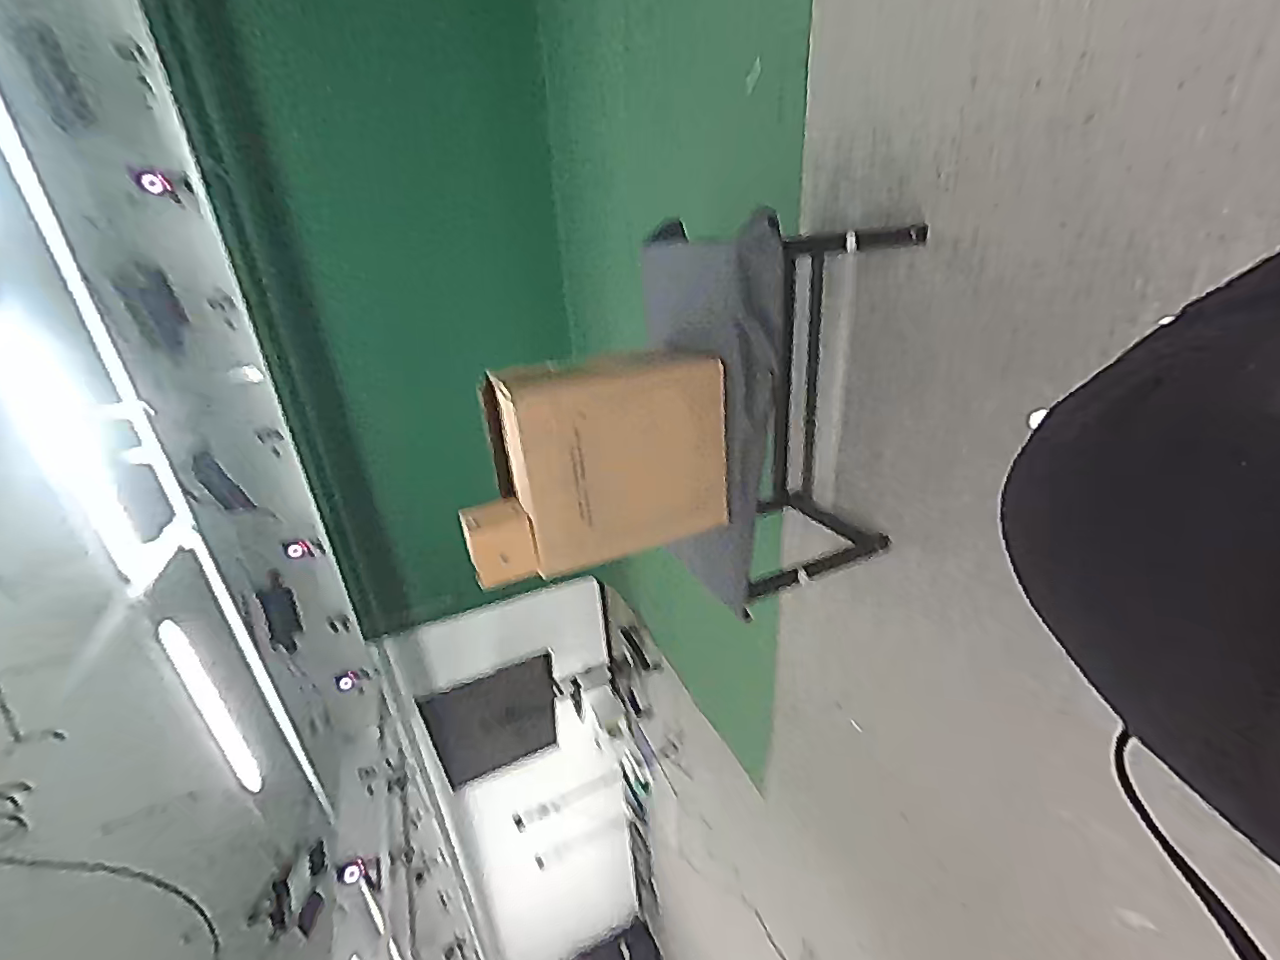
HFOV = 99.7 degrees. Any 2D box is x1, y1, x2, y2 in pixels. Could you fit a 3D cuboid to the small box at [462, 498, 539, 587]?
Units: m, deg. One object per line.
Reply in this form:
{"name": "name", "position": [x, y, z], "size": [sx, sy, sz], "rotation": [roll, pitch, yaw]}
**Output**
{"name": "small box", "position": [-0.401, 0.175, 1.569], "size": [0.168, 0.176, 0.179], "rotation": [36, 138, 58]}
